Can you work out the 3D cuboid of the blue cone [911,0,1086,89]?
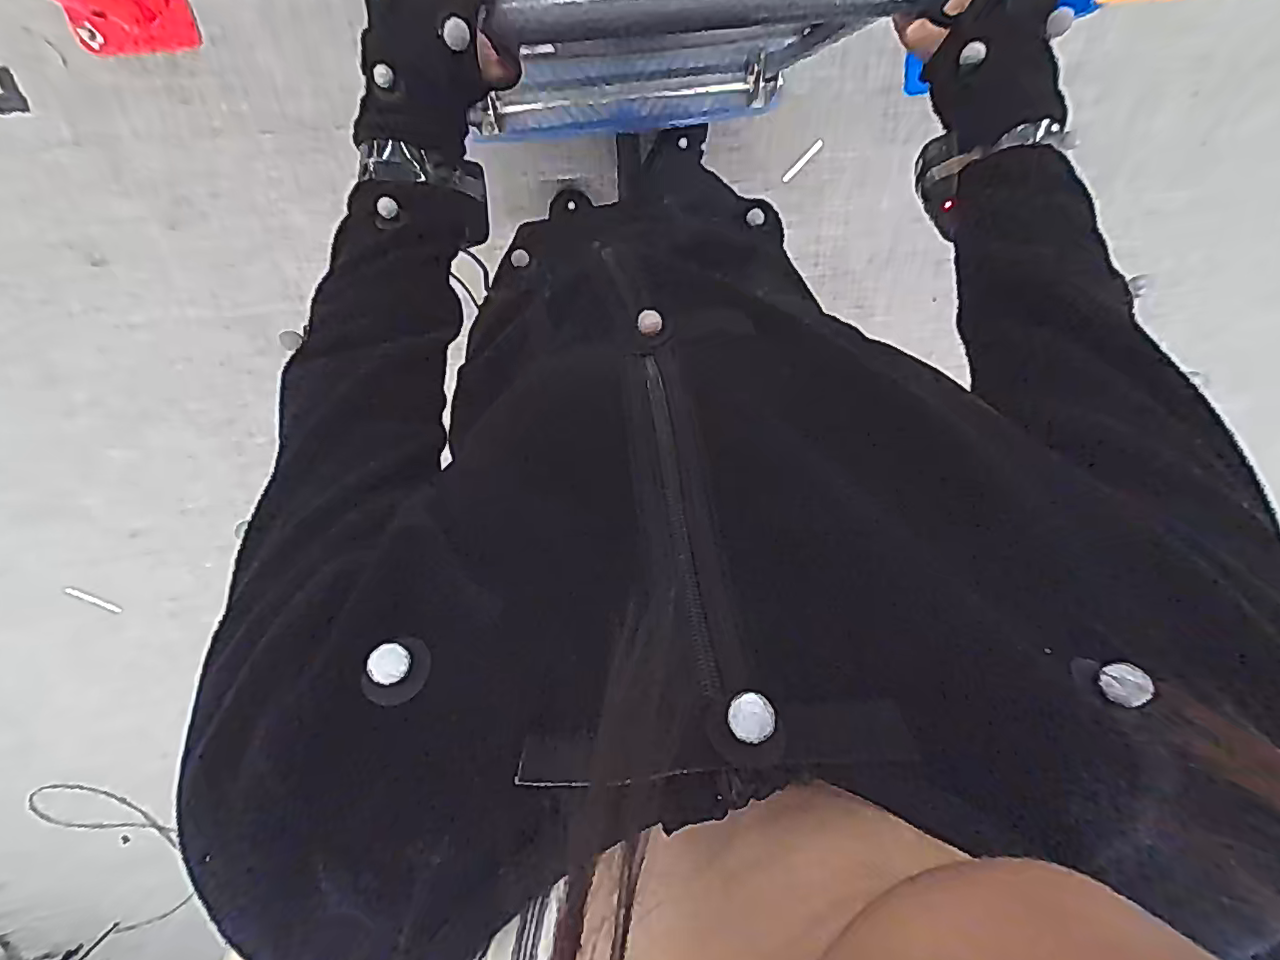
[{"bbox_3d":[0.672,-0.838,0.966,0.193,0.380,0.192,-10,122,-3],"label":"blue cone"}]
